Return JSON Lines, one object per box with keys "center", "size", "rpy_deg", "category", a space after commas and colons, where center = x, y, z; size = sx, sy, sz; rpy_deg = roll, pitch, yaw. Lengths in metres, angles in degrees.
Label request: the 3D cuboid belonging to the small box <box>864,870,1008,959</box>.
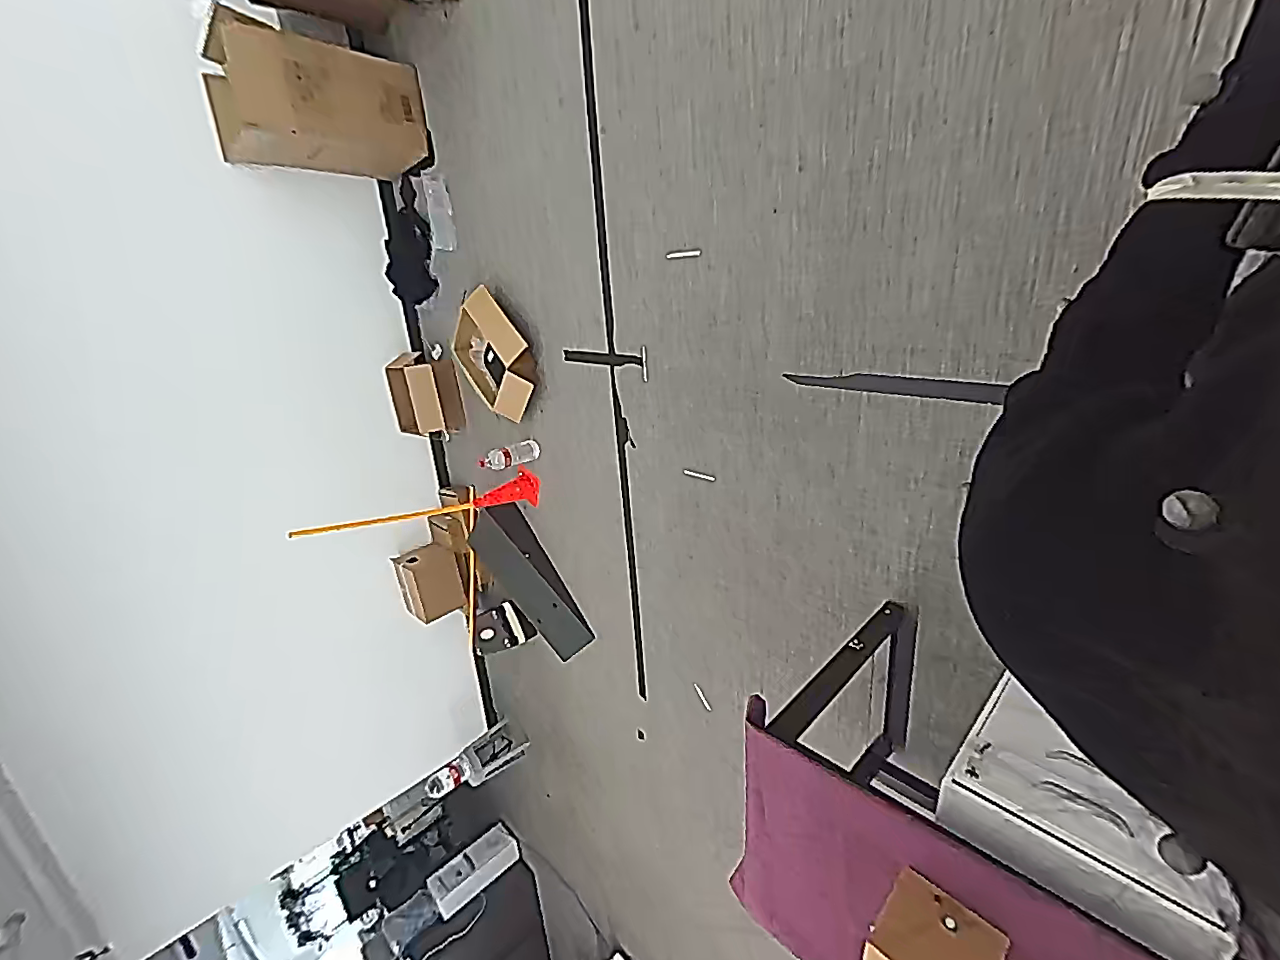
{"center": [0.488, 0.820, 0.905], "size": [0.168, 0.176, 0.179], "rpy_deg": [20, 121, 42], "category": "small box"}
